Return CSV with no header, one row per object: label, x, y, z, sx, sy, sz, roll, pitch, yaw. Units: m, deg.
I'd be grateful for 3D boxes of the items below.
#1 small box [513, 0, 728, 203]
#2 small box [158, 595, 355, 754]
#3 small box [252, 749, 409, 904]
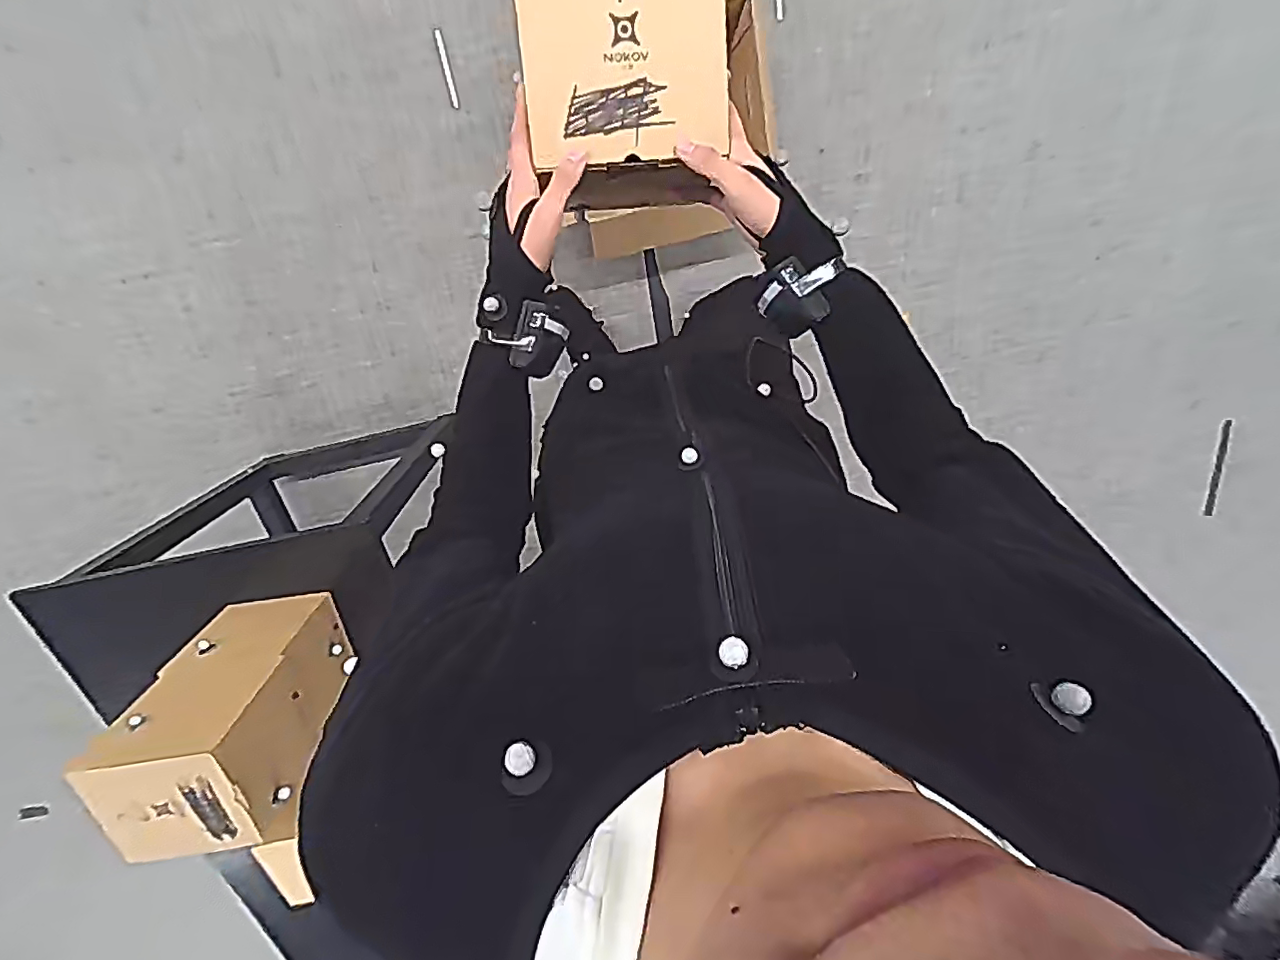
small box,-0.018,-0.364,0.493,0.168,0.176,0.179,-5,105,-3
small box,-0.604,0.307,0.879,0.179,0.176,0.168,-7,114,-2
small box,-0.571,0.648,1.024,0.179,0.176,0.168,-12,113,-1
